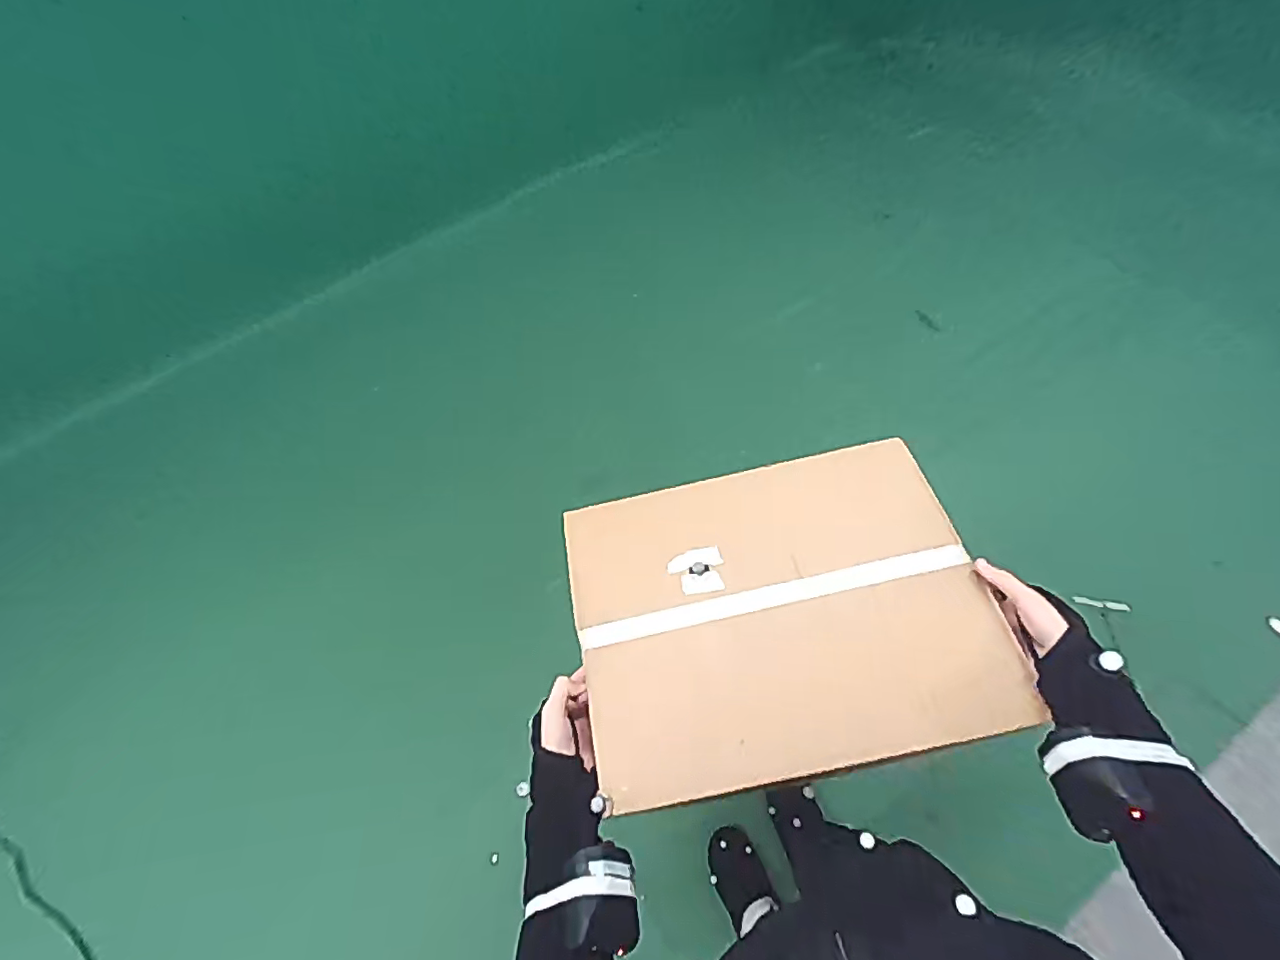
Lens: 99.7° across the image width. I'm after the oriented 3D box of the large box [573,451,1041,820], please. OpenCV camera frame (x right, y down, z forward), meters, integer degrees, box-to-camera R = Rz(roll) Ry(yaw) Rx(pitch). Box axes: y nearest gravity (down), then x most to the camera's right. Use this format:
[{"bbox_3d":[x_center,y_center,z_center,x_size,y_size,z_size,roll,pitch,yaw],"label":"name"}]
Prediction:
[{"bbox_3d":[0.161,0.211,0.685,0.408,0.320,0.320,-13,56,2],"label":"large box"}]
